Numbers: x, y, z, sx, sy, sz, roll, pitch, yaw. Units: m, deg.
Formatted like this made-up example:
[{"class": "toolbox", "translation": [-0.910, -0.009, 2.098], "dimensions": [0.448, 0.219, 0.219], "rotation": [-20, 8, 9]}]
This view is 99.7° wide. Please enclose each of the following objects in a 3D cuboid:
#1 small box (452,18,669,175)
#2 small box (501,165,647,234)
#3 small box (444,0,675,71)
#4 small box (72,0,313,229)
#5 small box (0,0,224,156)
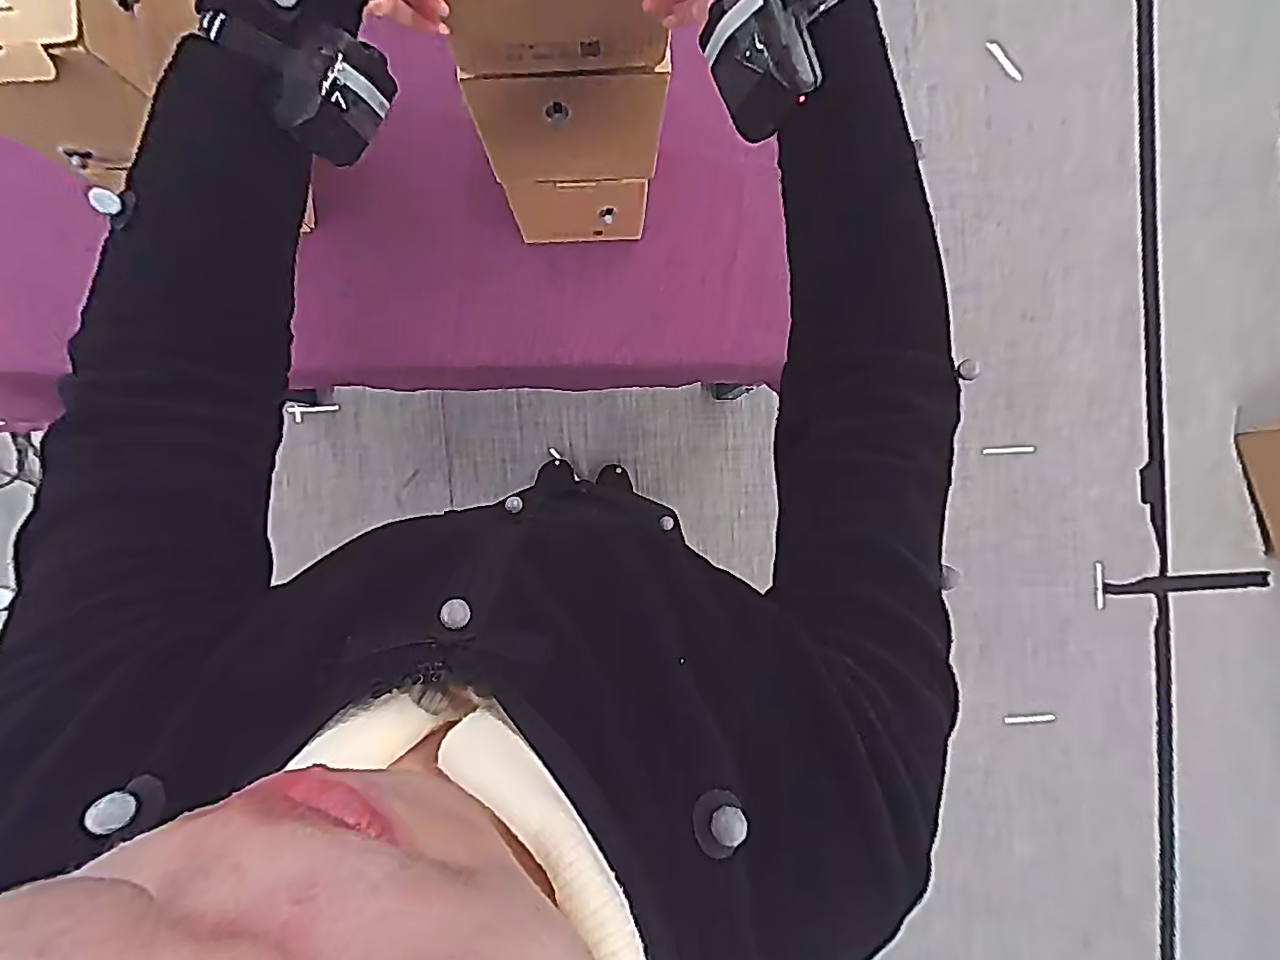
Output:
[{"class": "small box", "translation": [-0.070, -0.413, 0.513], "dimensions": [0.179, 0.176, 0.168], "rotation": [-4, 94, -3]}, {"class": "small box", "translation": [-0.079, -0.423, 0.677], "dimensions": [0.168, 0.176, 0.179], "rotation": [-3, 92, -3]}, {"class": "small box", "translation": [-0.061, -0.411, 0.346], "dimensions": [0.168, 0.176, 0.179], "rotation": [-5, 90, -3]}, {"class": "small box", "translation": [-0.528, -0.427, 0.654], "dimensions": [0.168, 0.176, 0.179], "rotation": [-4, 94, -3]}, {"class": "small box", "translation": [-0.520, -0.419, 0.490], "dimensions": [0.168, 0.176, 0.179], "rotation": [-5, 93, -3]}]
